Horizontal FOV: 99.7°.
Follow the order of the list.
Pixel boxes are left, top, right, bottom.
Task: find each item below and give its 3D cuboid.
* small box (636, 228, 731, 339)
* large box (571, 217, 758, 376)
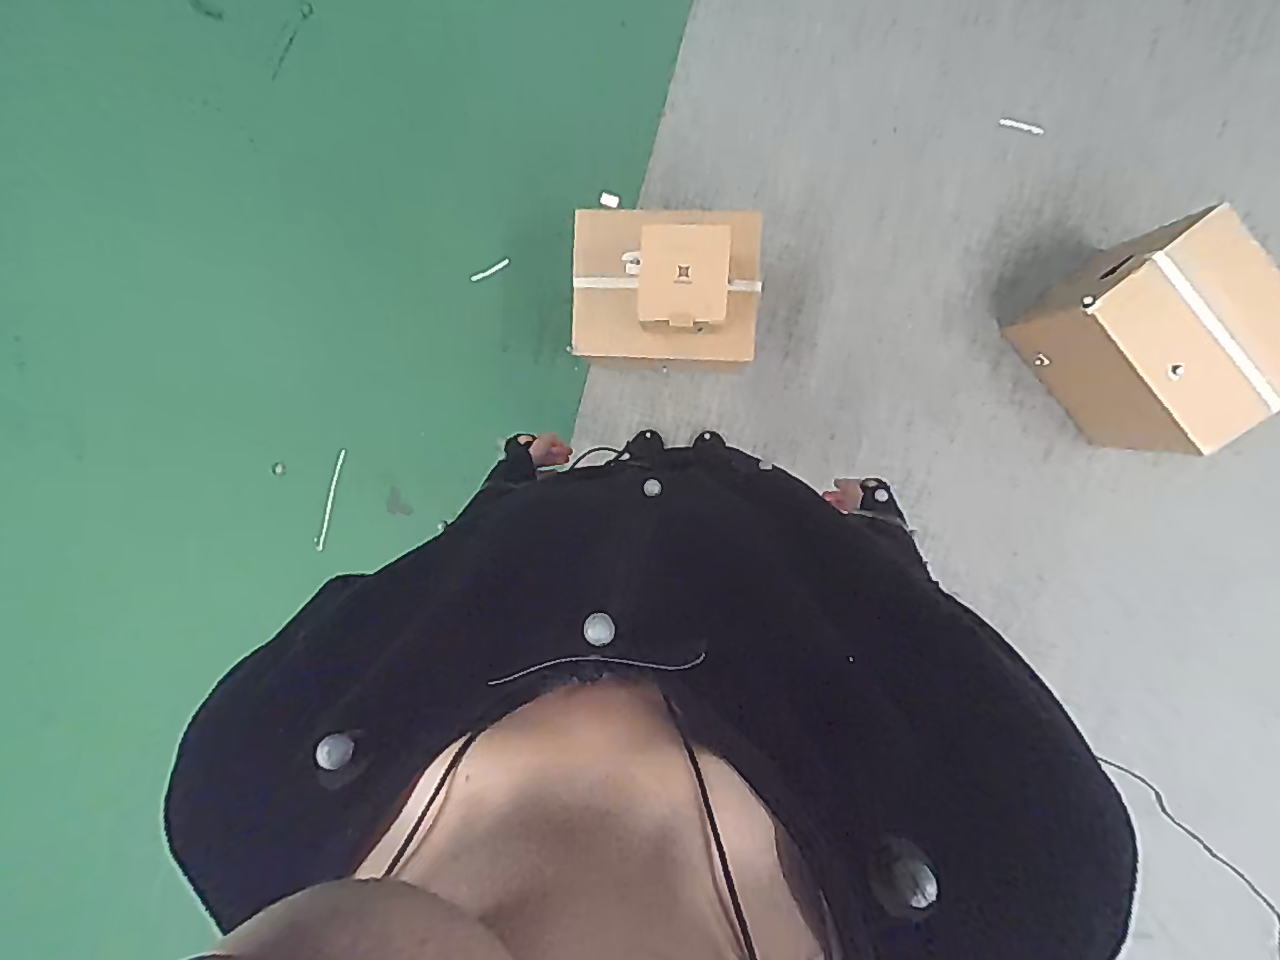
[{"bbox_3d":[0.085,-0.378,1.066,0.168,0.176,0.179,3,97,4],"label":"small box"},{"bbox_3d":[0.065,-0.419,1.312,0.408,0.320,0.320,3,95,6],"label":"large box"}]
